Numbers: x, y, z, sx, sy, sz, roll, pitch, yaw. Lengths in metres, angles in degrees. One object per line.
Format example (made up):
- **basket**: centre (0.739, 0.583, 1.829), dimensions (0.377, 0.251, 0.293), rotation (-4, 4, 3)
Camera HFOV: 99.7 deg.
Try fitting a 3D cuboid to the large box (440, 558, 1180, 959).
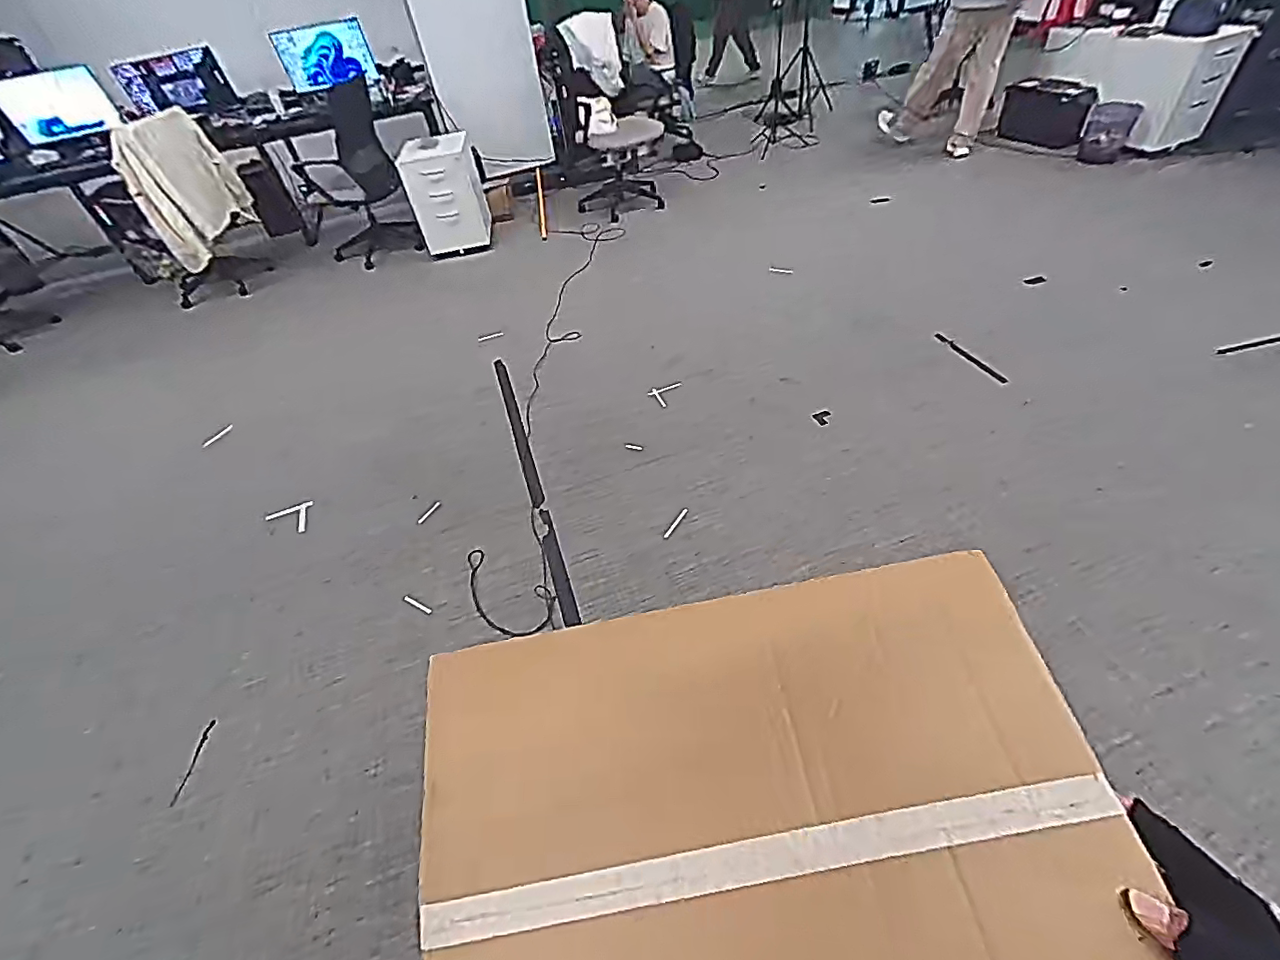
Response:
- **large box**: centre (0.090, 0.301, 0.449), dimensions (0.408, 0.320, 0.320), rotation (-12, 60, 1)
